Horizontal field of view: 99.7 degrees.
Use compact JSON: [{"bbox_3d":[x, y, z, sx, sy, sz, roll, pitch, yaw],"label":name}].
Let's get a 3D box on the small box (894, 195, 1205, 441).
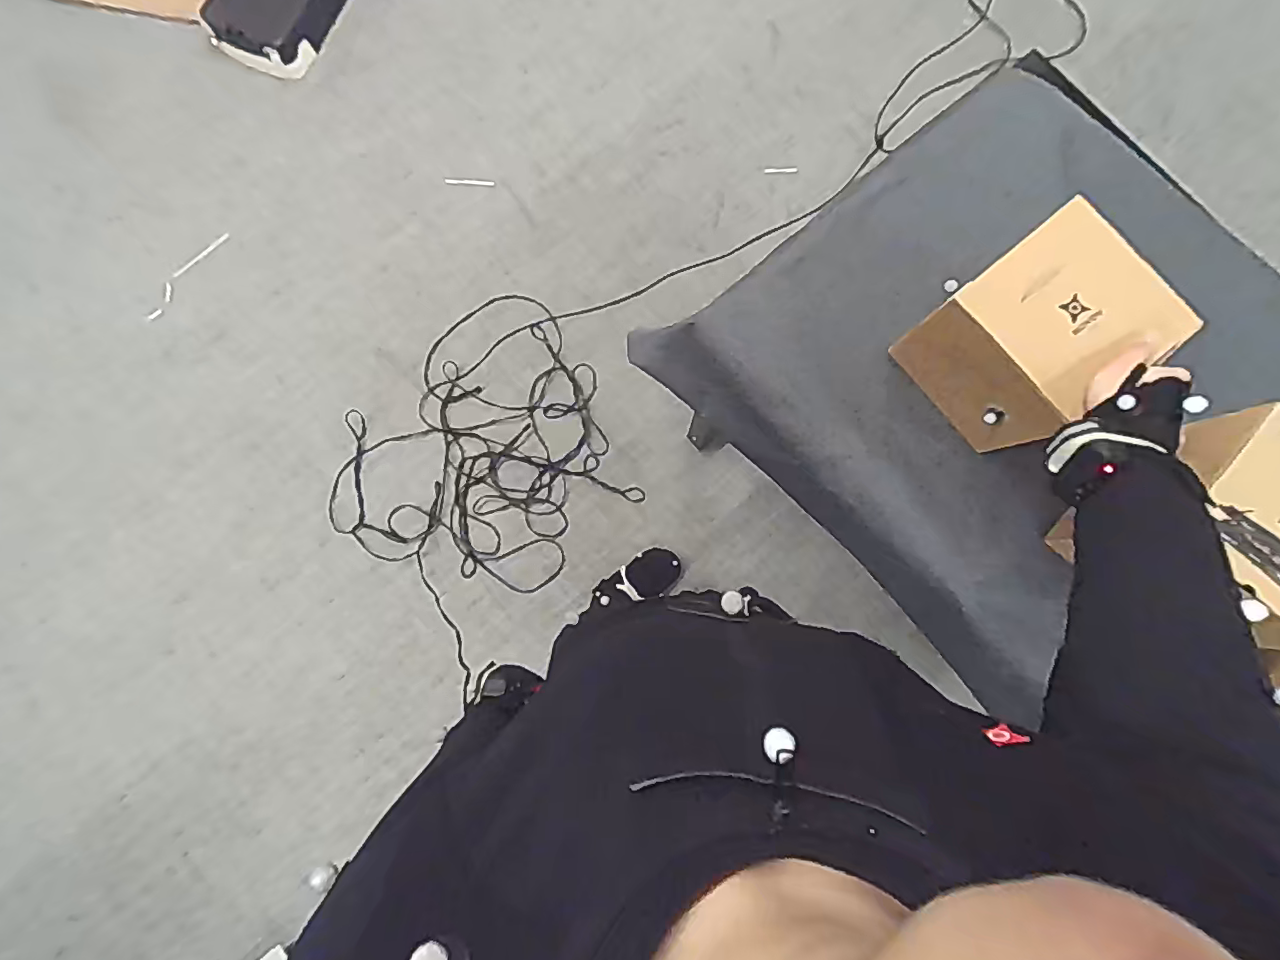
[{"bbox_3d":[0.428,-0.159,0.601,0.168,0.176,0.179,-41,84,-1],"label":"small box"}]
